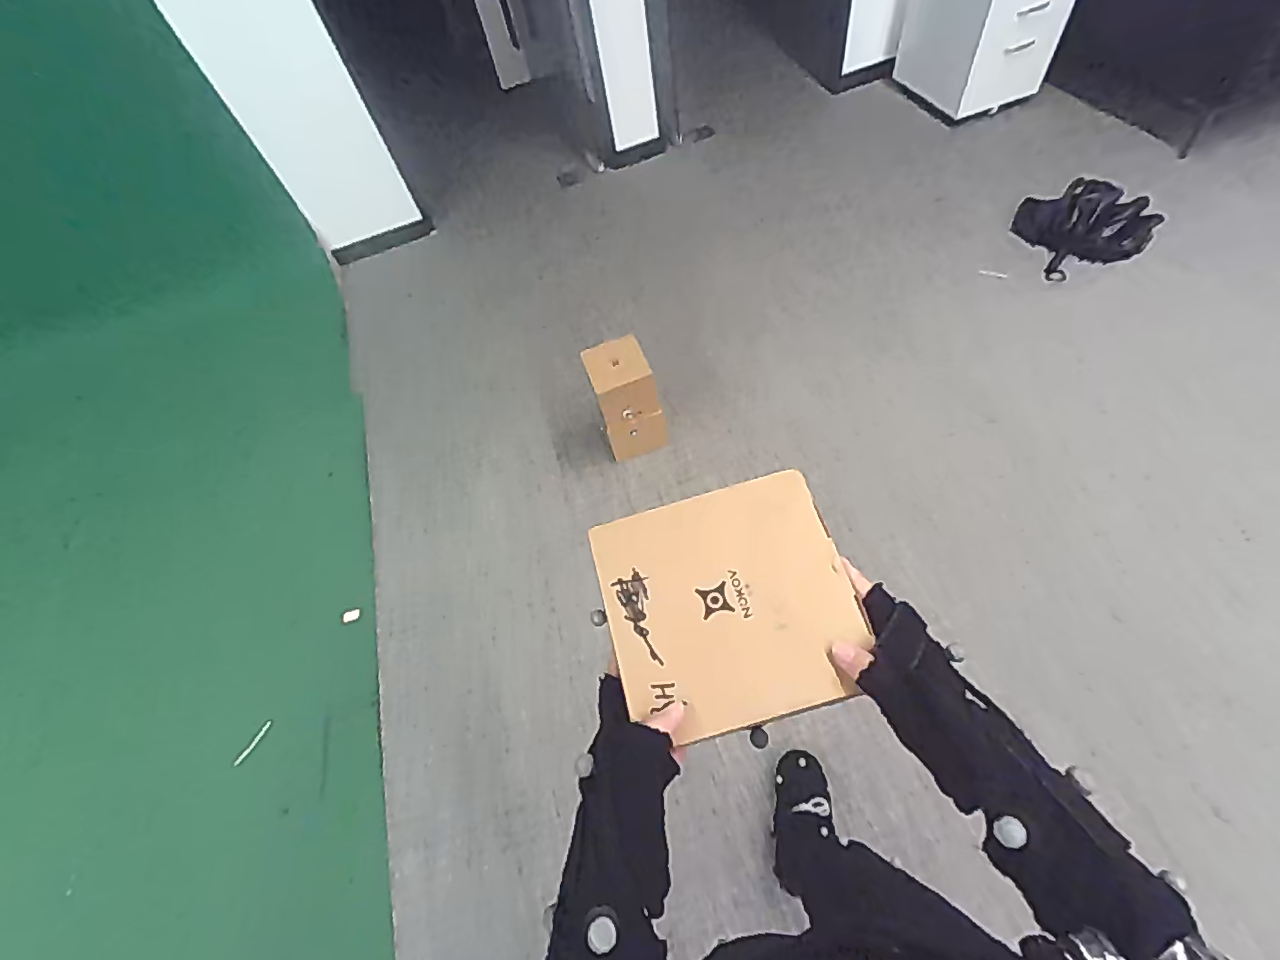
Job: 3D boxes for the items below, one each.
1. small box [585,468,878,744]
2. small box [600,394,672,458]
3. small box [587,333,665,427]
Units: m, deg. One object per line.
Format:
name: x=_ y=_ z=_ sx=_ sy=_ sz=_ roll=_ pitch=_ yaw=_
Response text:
small box: x=0.065 y=0.116 z=0.461 sx=0.179 sy=0.176 sz=0.168 roll=-15 pitch=63 yaw=0
small box: x=-0.010 y=-0.195 z=1.700 sx=0.179 sy=0.176 sz=0.168 roll=-19 pitch=57 yaw=-2
small box: x=-0.039 y=-0.286 z=1.570 sx=0.168 sy=0.176 sz=0.179 roll=-22 pitch=58 yaw=-1
